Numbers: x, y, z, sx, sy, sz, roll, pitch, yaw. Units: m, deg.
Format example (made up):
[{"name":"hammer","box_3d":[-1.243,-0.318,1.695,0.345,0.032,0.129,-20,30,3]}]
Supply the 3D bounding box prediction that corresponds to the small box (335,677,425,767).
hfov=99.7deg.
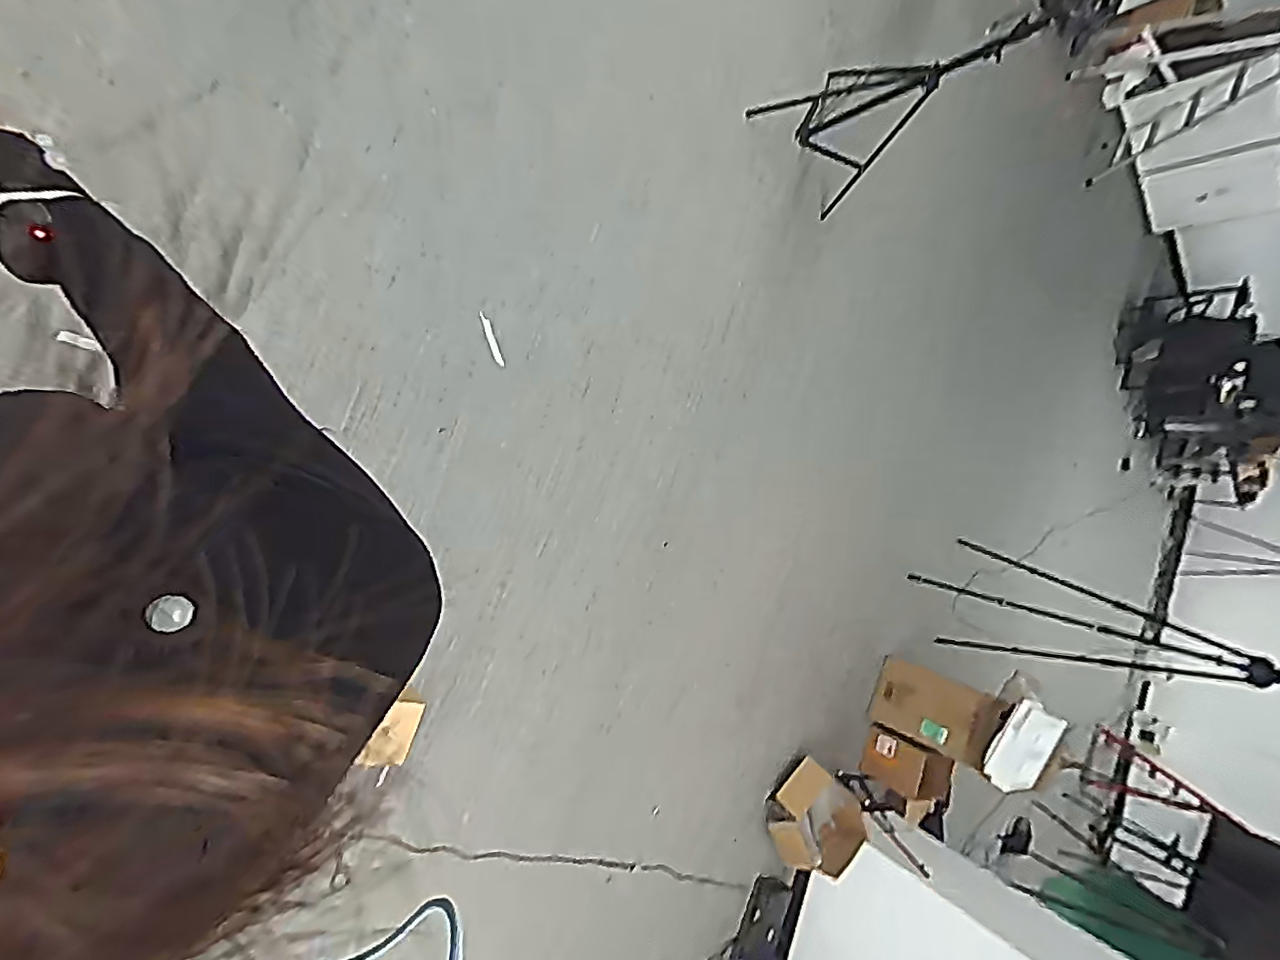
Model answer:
[{"name":"small box","box_3d":[-0.737,0.677,1.522,0.168,0.176,0.179,24,83,-36]}]
